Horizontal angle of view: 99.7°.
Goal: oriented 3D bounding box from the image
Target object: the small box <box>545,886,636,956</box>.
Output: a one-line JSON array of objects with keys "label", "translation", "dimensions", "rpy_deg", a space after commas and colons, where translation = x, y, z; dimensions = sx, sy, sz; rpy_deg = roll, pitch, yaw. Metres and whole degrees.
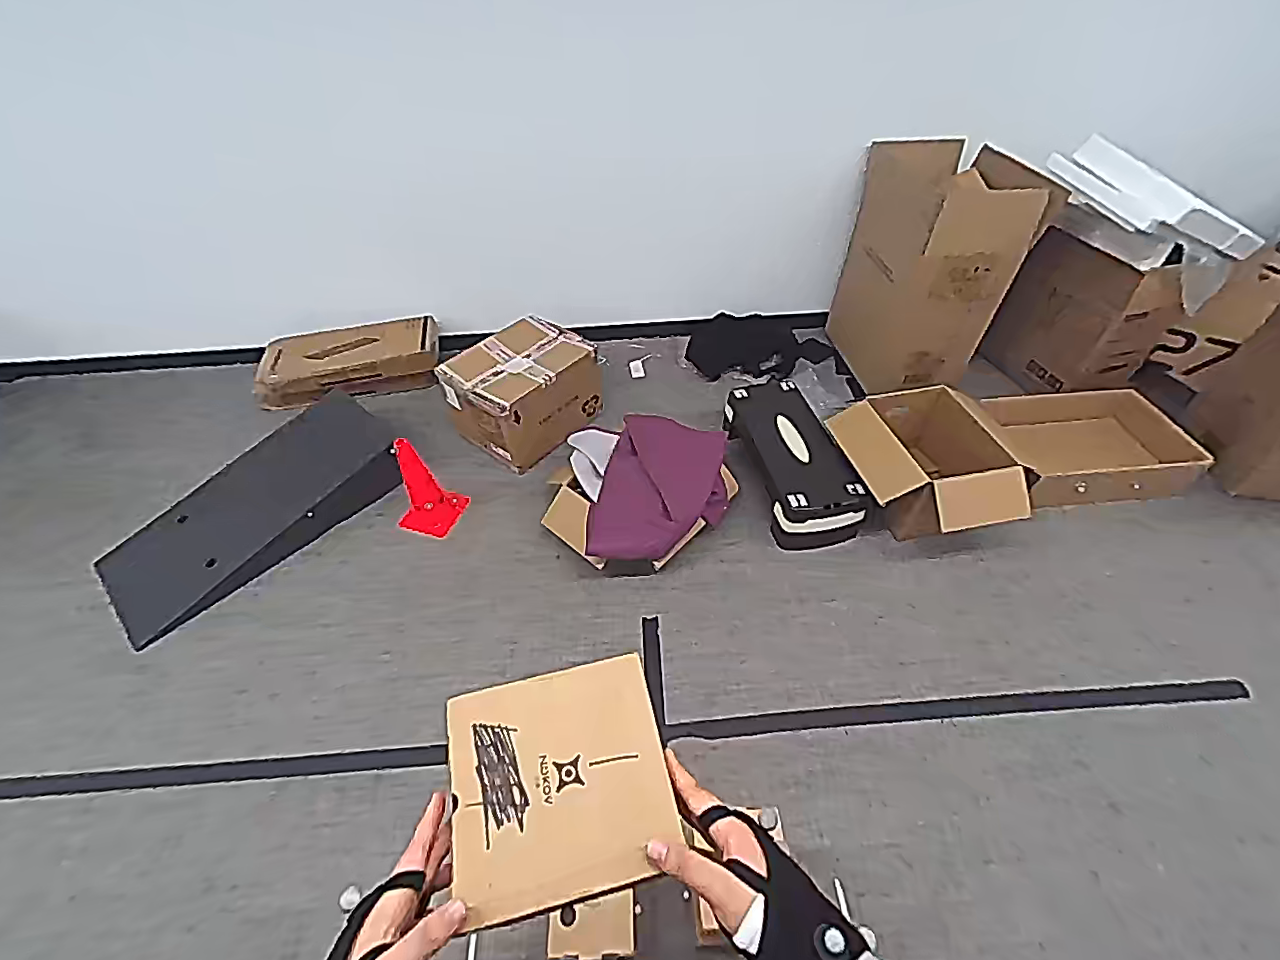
[{"label": "small box", "translation": [-0.094, 0.879, 1.132], "dimensions": [0.168, 0.176, 0.179], "rpy_deg": [-3, 47, 1]}]

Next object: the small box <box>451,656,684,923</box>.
[{"label": "small box", "translation": [-0.064, 0.290, 0.506], "dimensions": [0.179, 0.176, 0.168], "rpy_deg": [-11, 53, -7]}]

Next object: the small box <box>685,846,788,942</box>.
[{"label": "small box", "translation": [0.193, 0.859, 1.141], "dimensions": [0.179, 0.176, 0.168], "rpy_deg": [-4, 47, -2]}]

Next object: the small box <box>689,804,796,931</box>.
[{"label": "small box", "translation": [0.184, 0.739, 1.030], "dimensions": [0.168, 0.176, 0.179], "rpy_deg": [-3, 48, 0]}]
